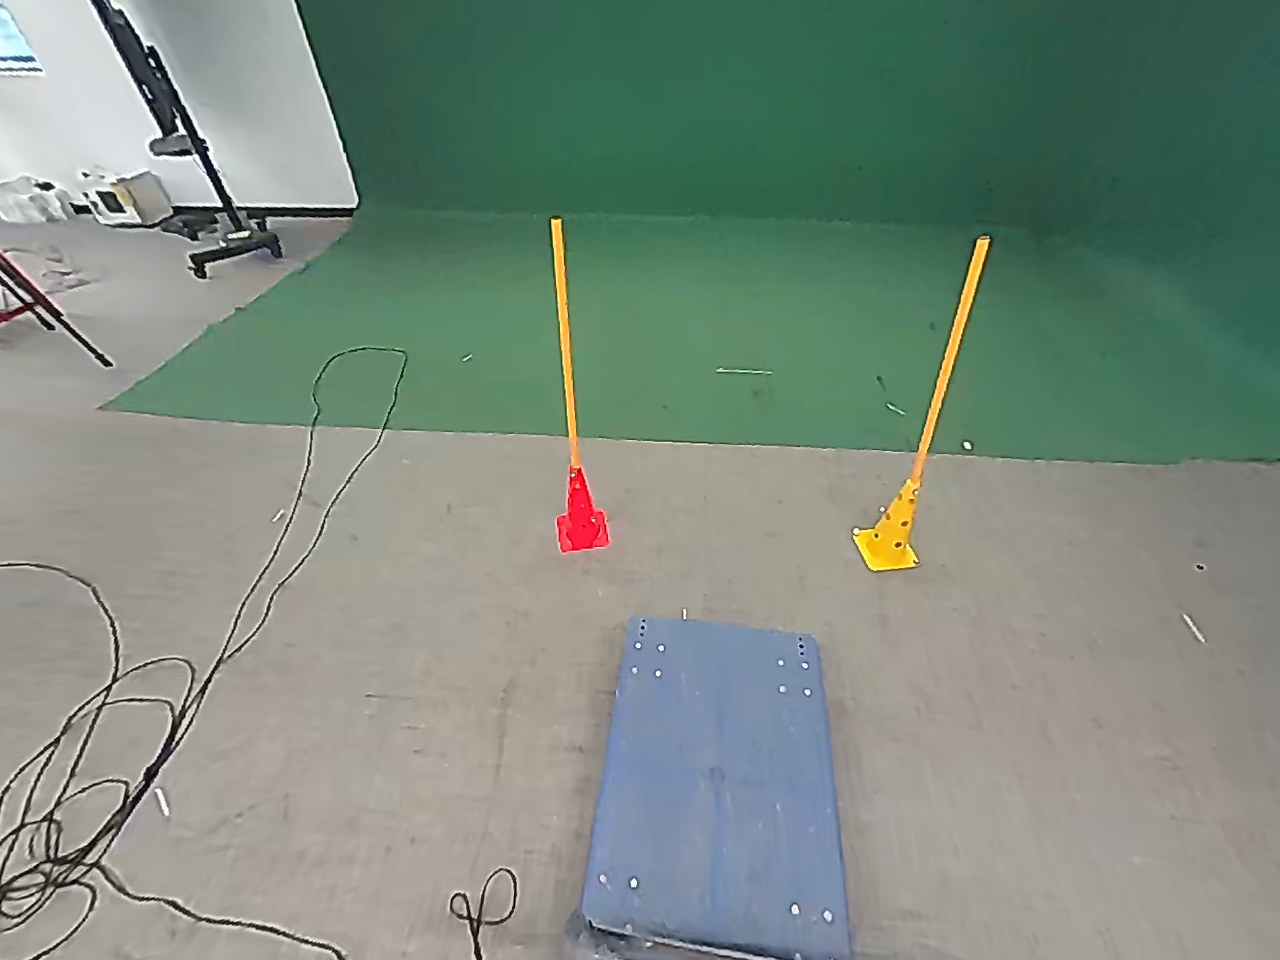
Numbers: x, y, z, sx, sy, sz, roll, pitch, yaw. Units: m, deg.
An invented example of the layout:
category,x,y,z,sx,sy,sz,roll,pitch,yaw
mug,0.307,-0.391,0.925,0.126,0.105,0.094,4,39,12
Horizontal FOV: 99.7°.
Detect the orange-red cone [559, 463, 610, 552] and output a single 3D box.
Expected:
category,x,y,z,sx,sy,sz,roll,pitch,yaw
orange-red cone,-0.231,0.080,2.065,0.199,0.360,0.198,-8,43,-6
